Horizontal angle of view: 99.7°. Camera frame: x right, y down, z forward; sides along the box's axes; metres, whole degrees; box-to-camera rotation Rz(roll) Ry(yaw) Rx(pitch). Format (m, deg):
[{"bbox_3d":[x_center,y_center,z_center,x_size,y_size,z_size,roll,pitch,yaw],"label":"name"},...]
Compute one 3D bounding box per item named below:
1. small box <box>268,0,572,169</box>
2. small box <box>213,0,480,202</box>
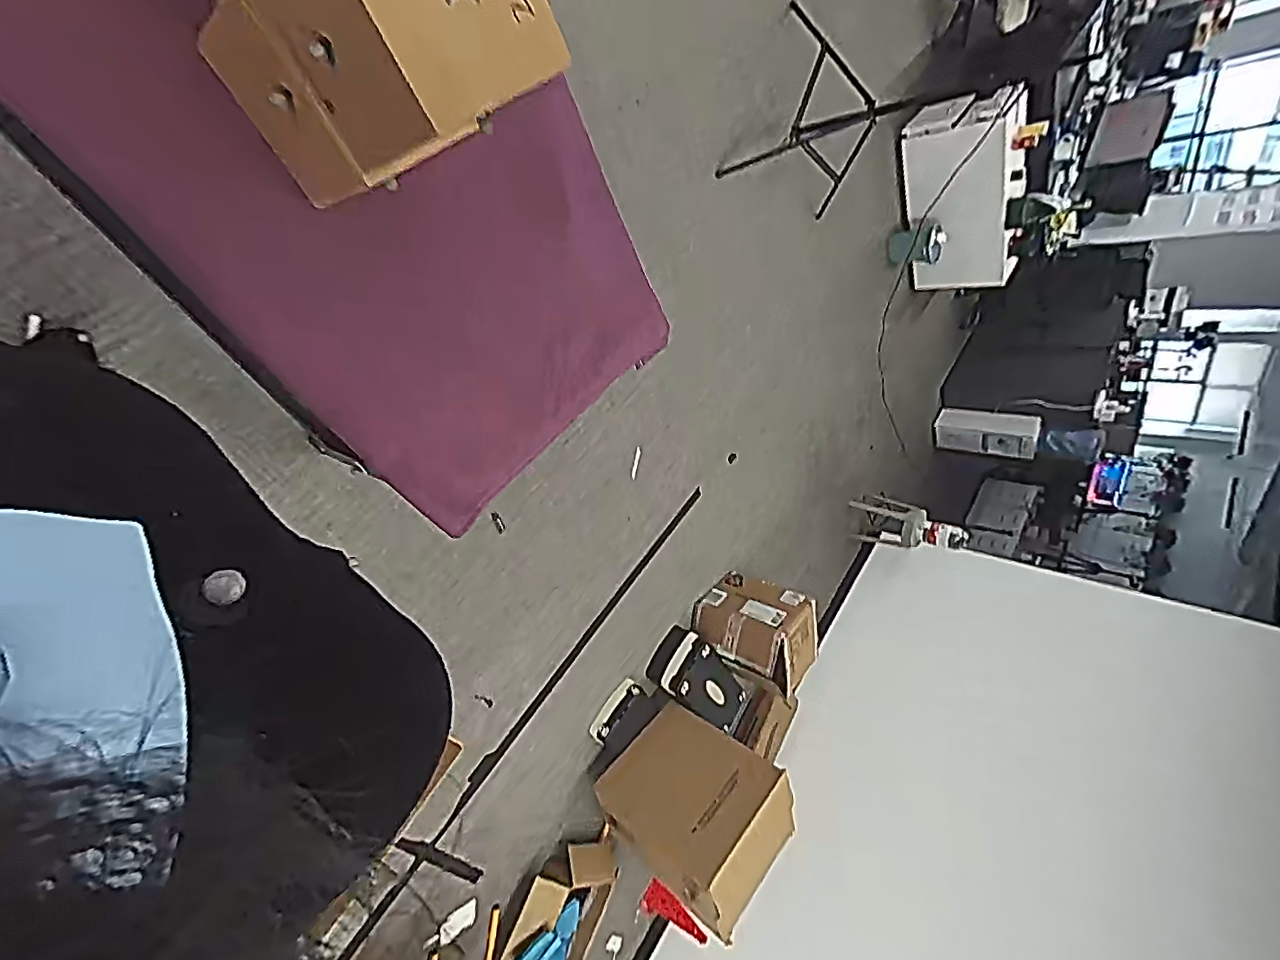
[{"bbox_3d":[-0.202,-0.412,0.492,0.179,0.176,0.168,-49,132,-26],"label":"small box"},{"bbox_3d":[-0.322,-0.433,0.603,0.168,0.176,0.179,-49,131,-26],"label":"small box"}]
